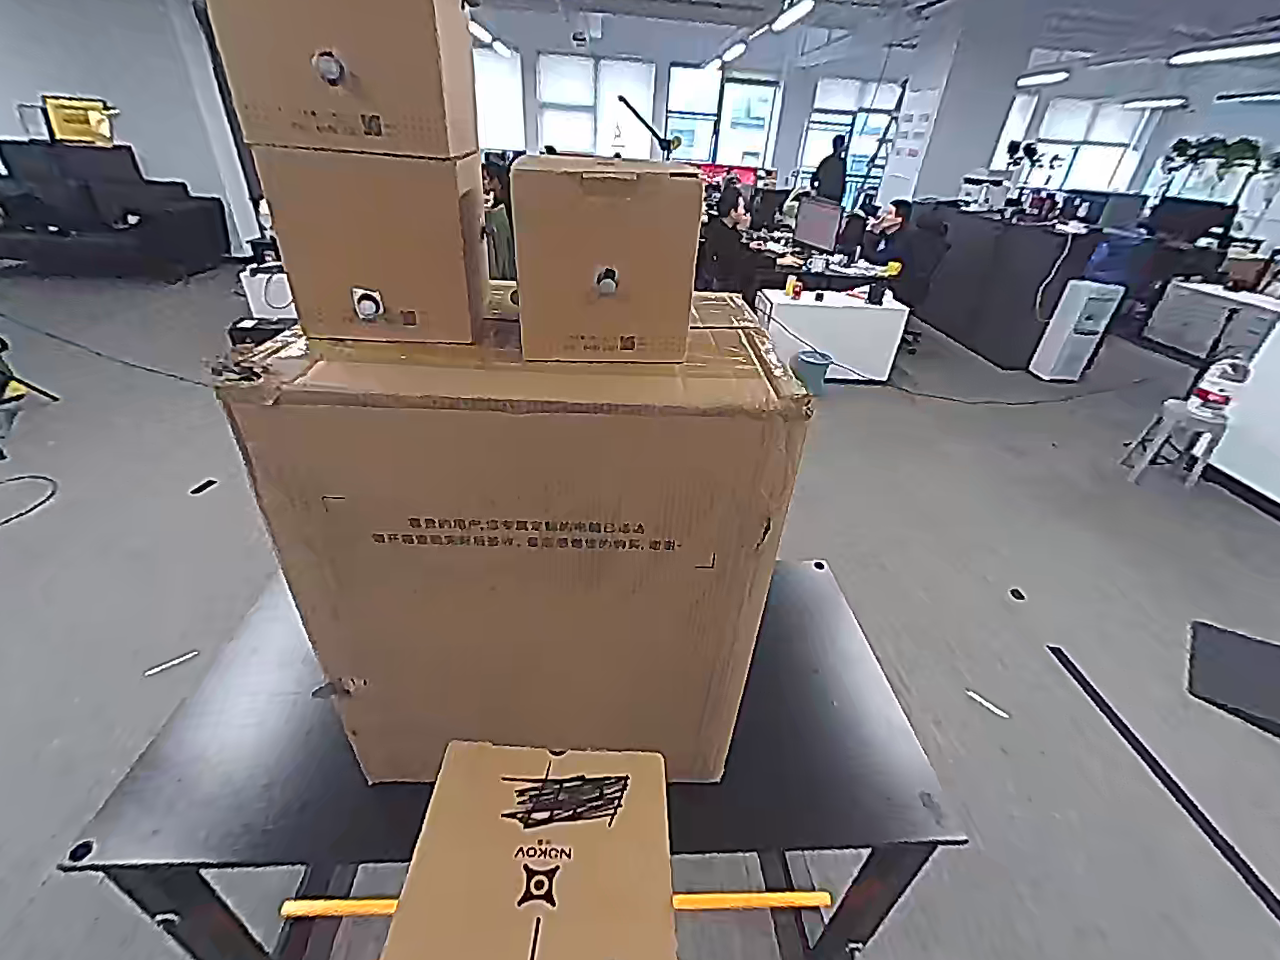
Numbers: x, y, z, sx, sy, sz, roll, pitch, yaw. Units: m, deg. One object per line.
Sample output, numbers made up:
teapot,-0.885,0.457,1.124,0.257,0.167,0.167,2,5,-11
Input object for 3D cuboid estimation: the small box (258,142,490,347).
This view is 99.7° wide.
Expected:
small box,-0.254,-0.251,0.568,0.168,0.176,0.179,-1,34,-9

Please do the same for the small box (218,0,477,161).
small box,-0.244,-0.388,0.477,0.168,0.176,0.179,0,33,-7

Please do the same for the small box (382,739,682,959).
small box,-0.068,0.314,0.374,0.168,0.176,0.179,5,27,-4

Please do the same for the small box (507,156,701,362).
small box,-0.037,-0.230,0.560,0.168,0.176,0.179,-1,34,-6
